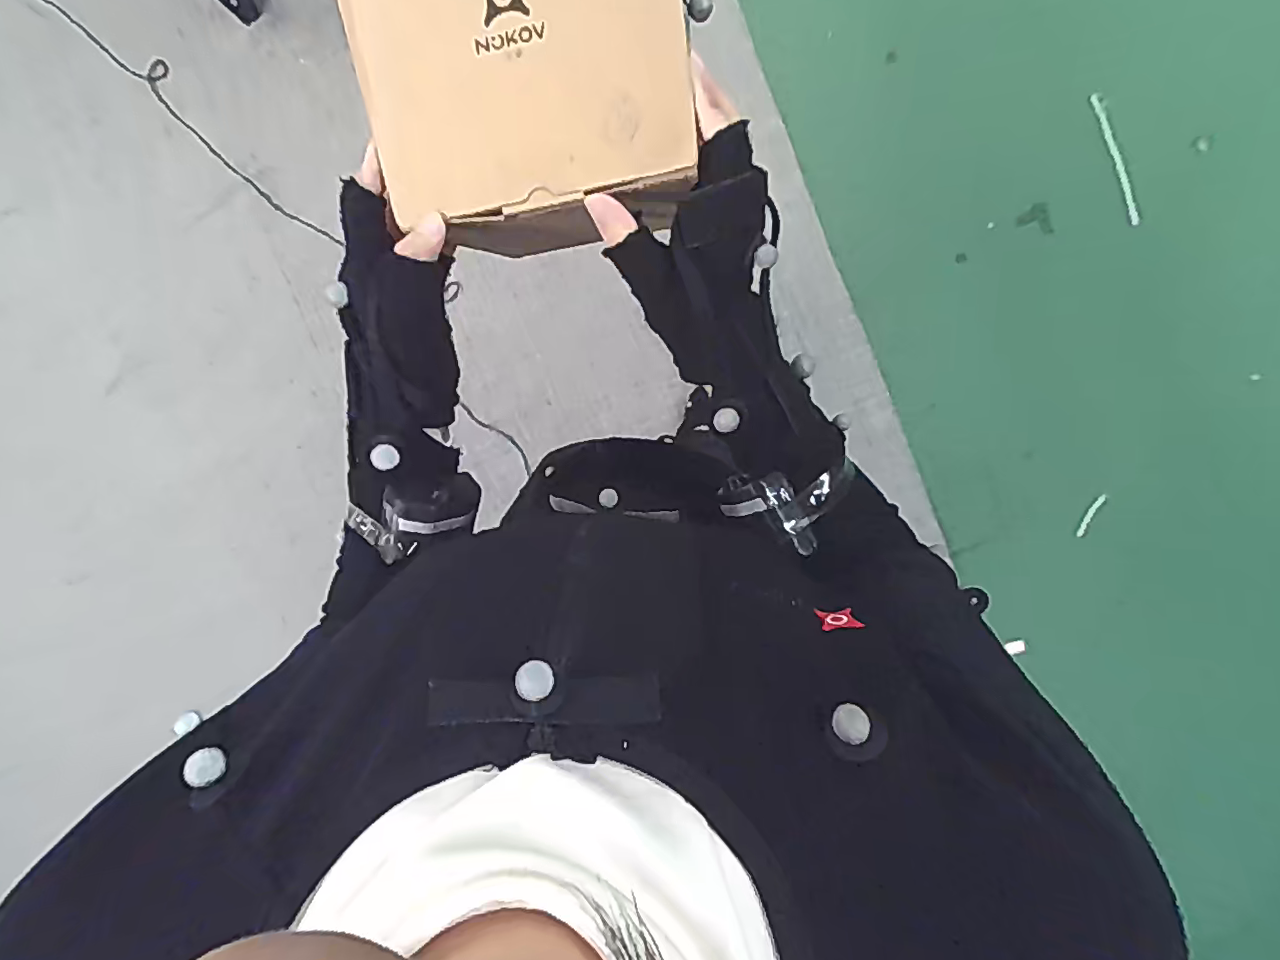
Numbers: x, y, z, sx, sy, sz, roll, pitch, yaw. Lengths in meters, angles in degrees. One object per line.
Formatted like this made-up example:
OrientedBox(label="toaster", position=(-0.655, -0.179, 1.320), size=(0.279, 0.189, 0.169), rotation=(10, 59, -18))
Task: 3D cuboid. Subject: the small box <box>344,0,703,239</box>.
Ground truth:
OrientedBox(label="small box", position=(-0.053, -0.257, 0.334), size=(0.168, 0.176, 0.179), rotation=(-6, 106, 10))
